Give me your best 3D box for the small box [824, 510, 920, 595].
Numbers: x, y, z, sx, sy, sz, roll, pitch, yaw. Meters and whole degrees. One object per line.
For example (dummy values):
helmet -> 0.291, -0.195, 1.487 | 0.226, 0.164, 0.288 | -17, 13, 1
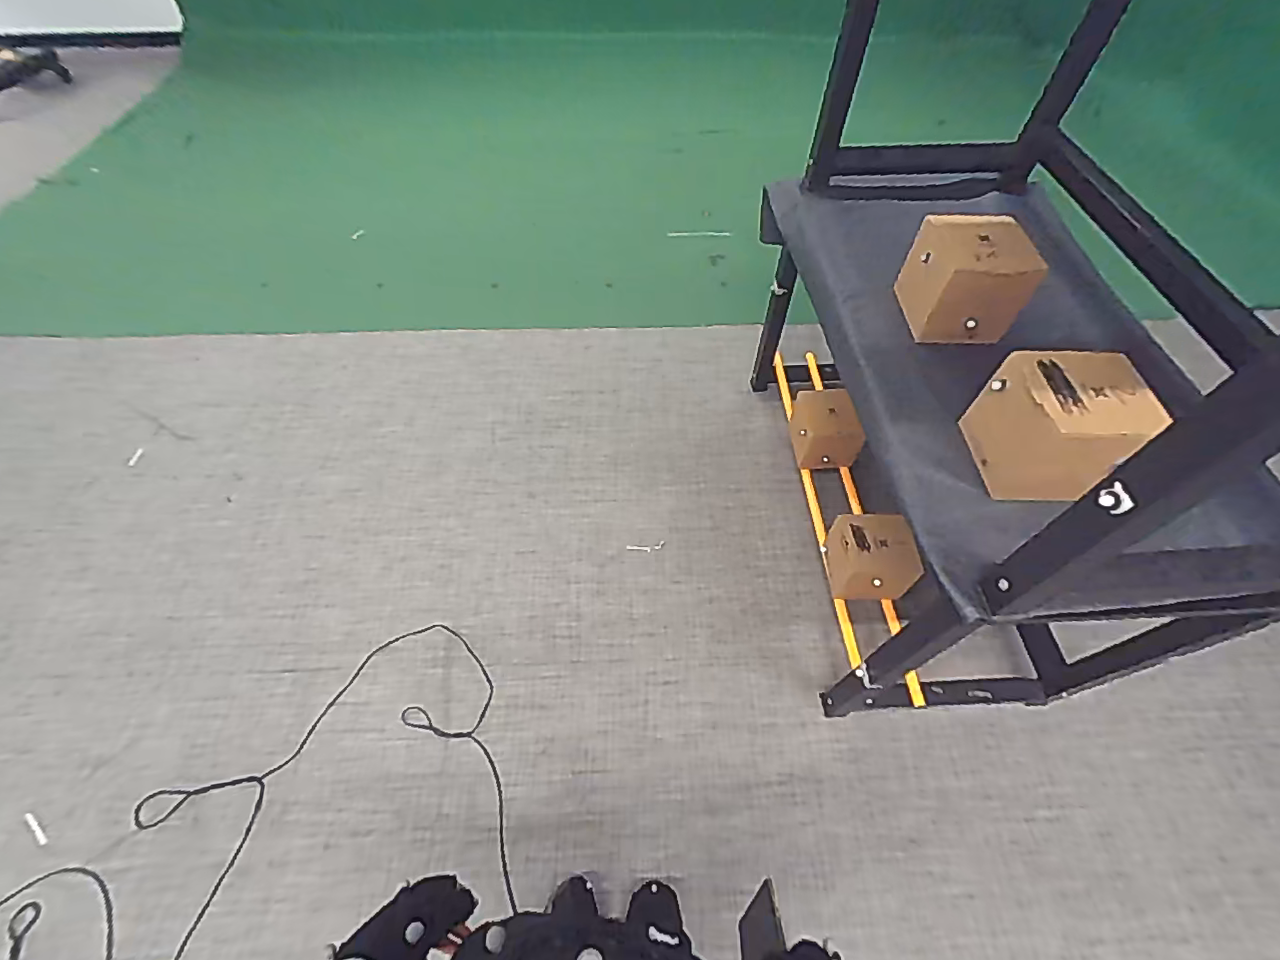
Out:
small box -> 0.591, 0.192, 1.410 | 0.179, 0.176, 0.168 | 1, 56, 1

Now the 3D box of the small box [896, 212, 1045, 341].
small box -> 0.628, -0.397, 1.058 | 0.168, 0.176, 0.179 | 1, 56, 0
